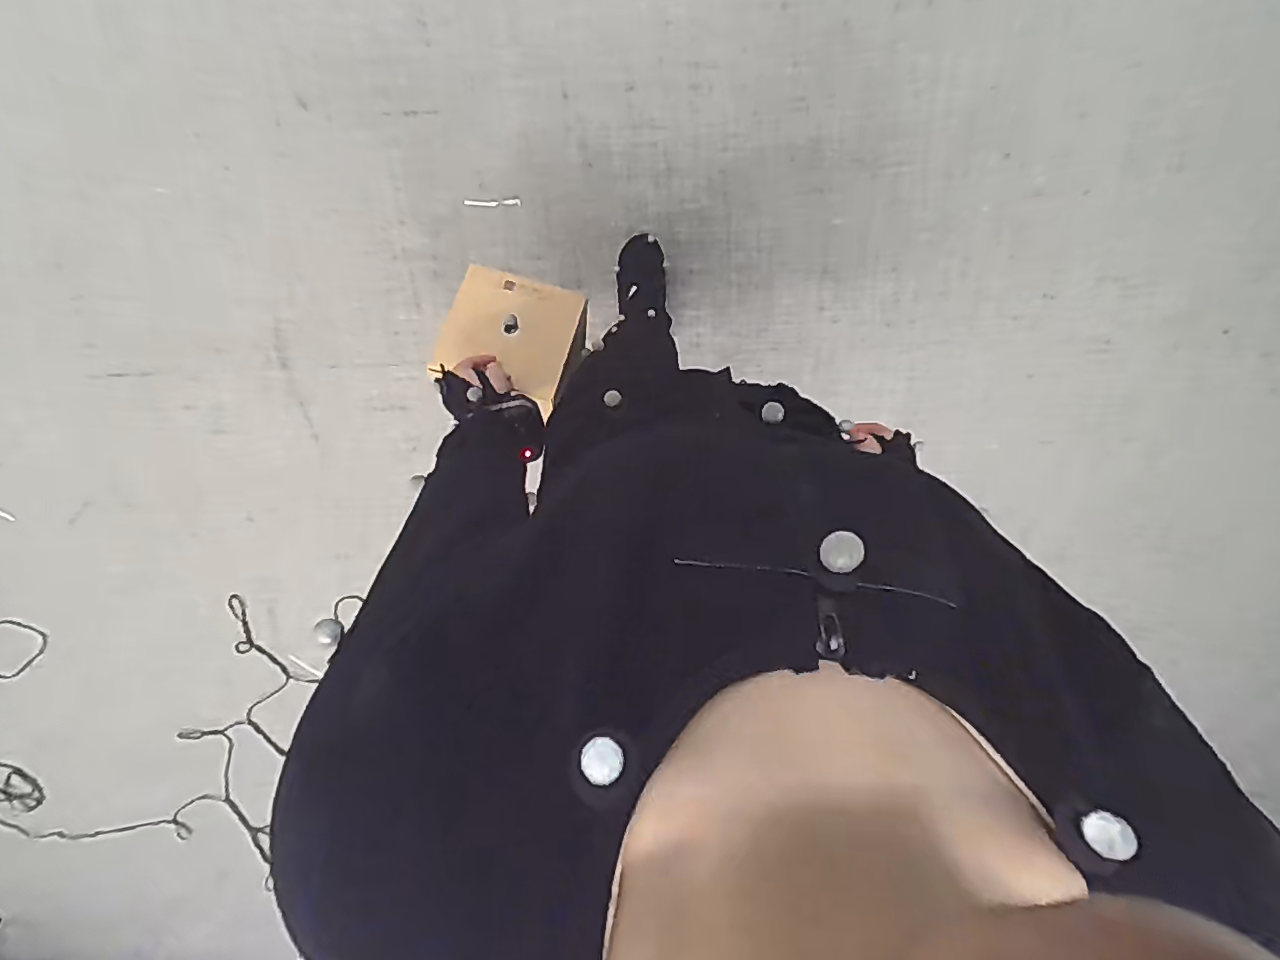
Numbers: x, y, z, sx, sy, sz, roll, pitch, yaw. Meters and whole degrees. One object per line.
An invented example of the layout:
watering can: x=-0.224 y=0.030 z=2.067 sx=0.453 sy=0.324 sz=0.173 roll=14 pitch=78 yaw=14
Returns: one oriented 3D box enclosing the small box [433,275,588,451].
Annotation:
small box: x=-0.176 y=-0.166 z=0.788 sx=0.168 sy=0.179 sz=0.176 roll=14 pitch=71 yaw=-1
